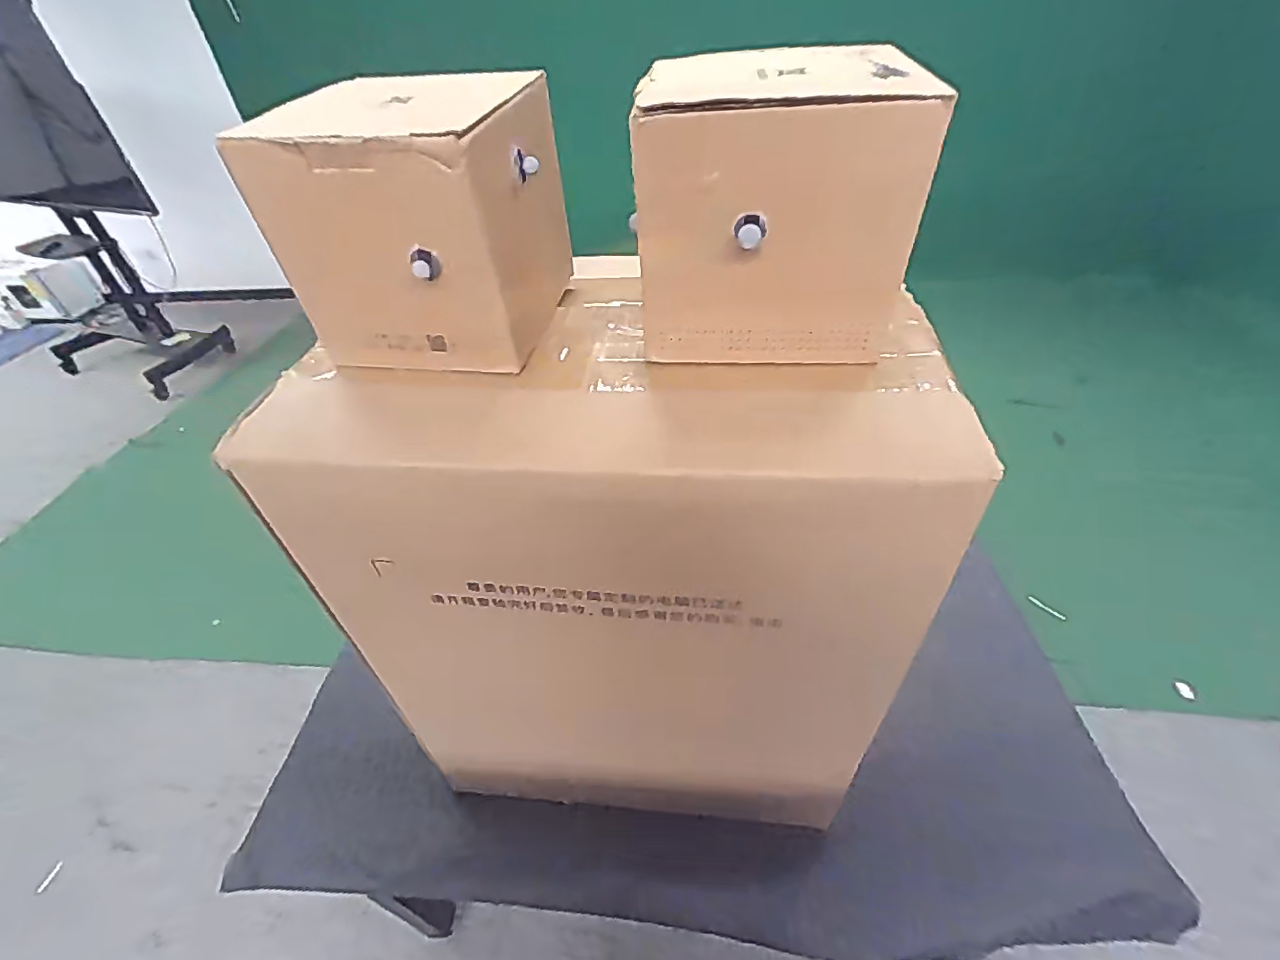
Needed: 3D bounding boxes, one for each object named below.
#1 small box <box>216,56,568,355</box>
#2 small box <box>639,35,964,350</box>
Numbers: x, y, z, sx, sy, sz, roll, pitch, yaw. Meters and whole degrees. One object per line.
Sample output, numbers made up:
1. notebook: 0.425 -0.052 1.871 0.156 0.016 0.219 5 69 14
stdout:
1. small box: -0.159 -0.214 0.426 0.168 0.176 0.179 5 44 7
2. small box: 0.098 -0.210 0.403 0.179 0.176 0.168 1 45 6
